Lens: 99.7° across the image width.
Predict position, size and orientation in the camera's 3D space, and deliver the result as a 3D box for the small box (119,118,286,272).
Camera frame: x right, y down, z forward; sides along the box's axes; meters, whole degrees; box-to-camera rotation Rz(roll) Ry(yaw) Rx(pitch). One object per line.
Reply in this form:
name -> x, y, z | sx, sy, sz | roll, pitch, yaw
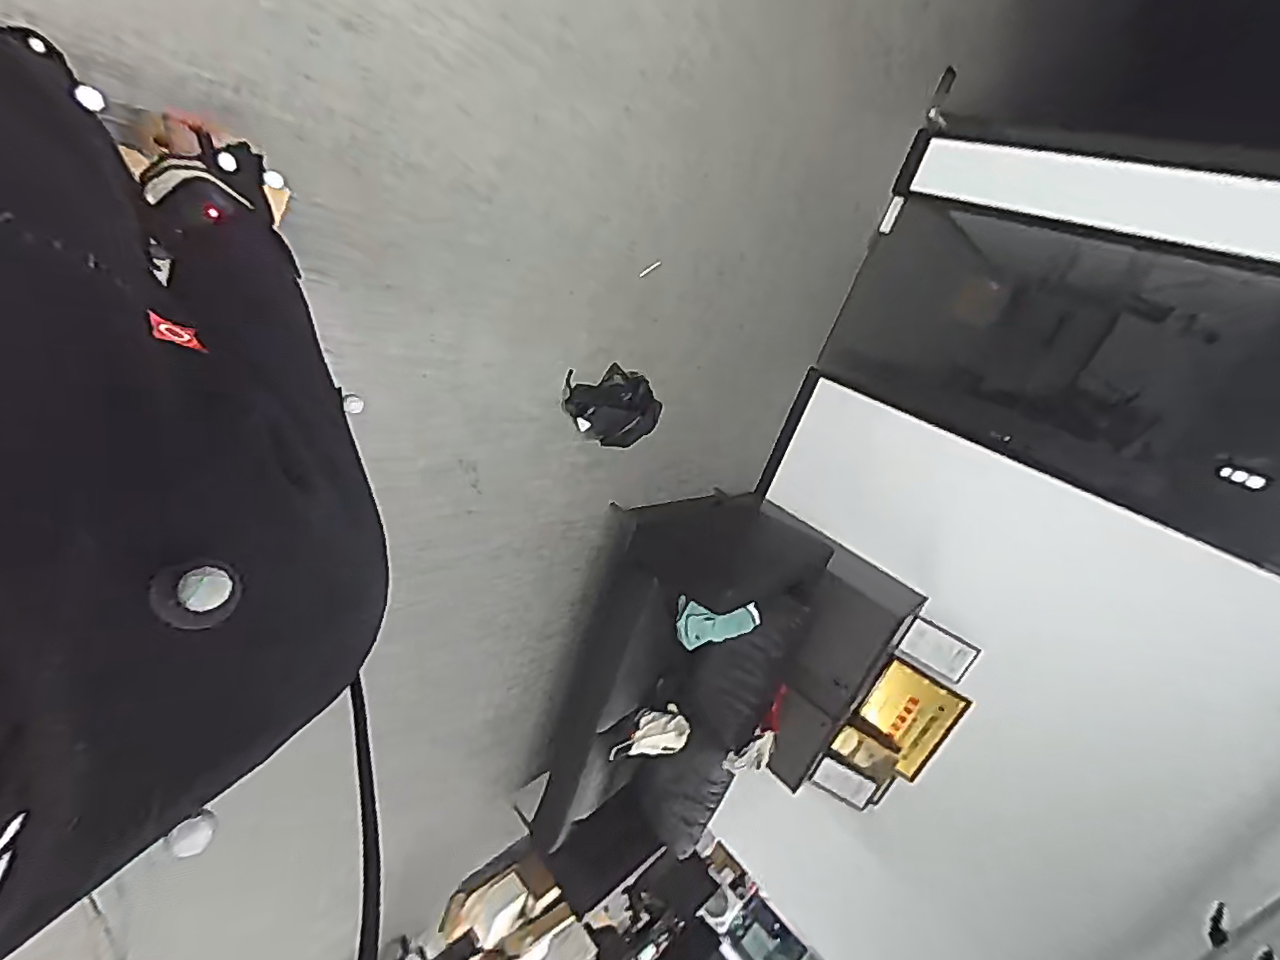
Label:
small box -> -0.768, -0.500, 0.949 | 0.179, 0.176, 0.168 | 13, 110, -54
